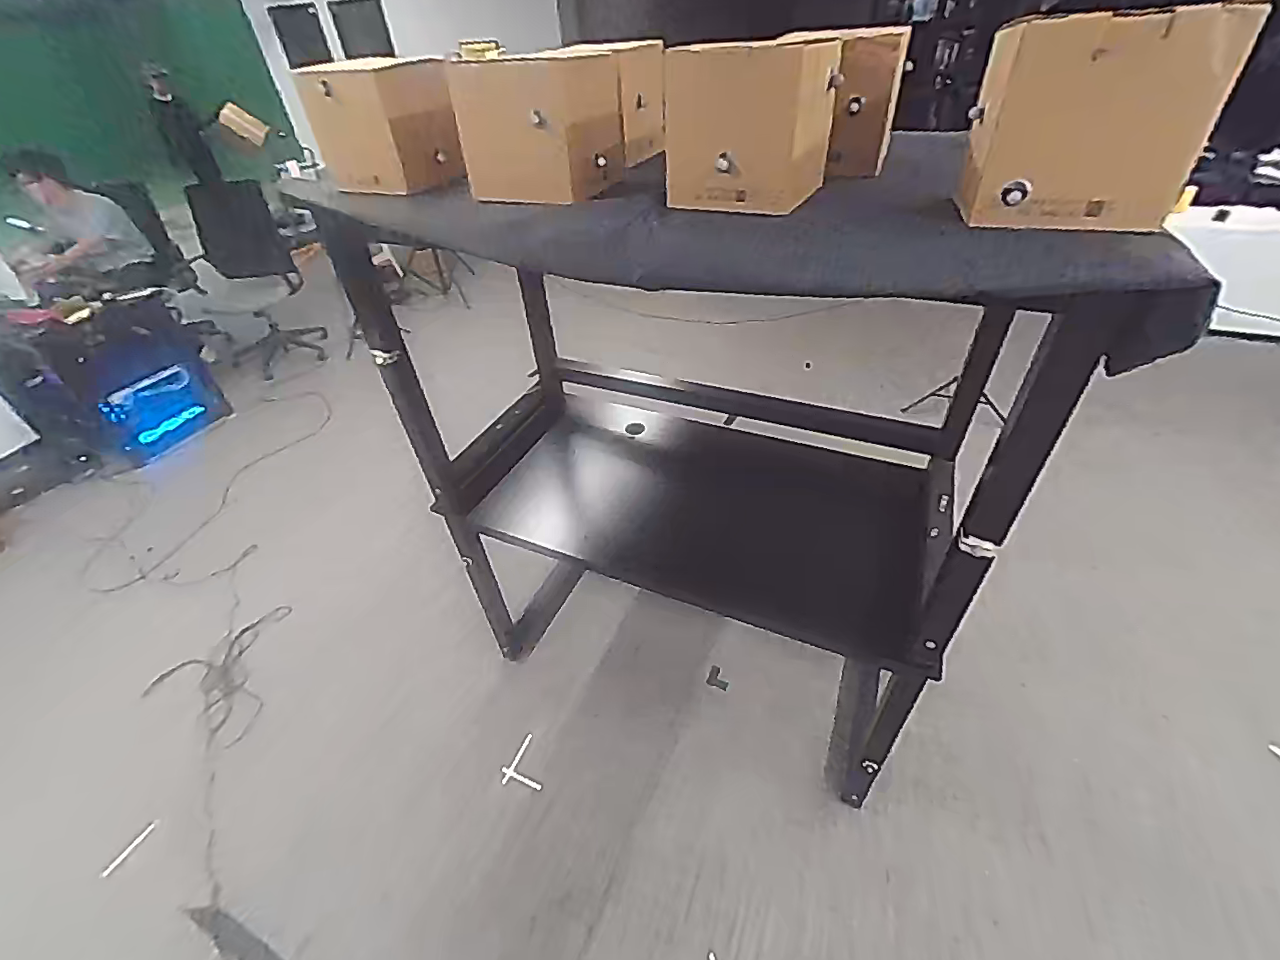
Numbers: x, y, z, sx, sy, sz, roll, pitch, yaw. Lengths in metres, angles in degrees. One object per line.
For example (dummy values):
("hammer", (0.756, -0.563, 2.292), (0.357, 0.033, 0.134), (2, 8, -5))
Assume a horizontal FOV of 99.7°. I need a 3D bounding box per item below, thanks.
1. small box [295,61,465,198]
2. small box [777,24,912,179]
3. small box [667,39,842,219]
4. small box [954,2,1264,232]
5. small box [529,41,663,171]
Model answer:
("small box", (-0.415, -0.587, 0.902), (0.168, 0.176, 0.179), (13, 43, 19))
("small box", (0.296, -0.569, 0.817), (0.168, 0.176, 0.179), (14, 45, 19))
("small box", (0.143, -0.453, 0.695), (0.168, 0.176, 0.179), (17, 44, 24))
("small box", (0.438, -0.358, 0.549), (0.168, 0.176, 0.179), (11, 38, 17))
("small box", (-0.066, -0.662, 0.962), (0.179, 0.176, 0.168), (15, 45, 22))
